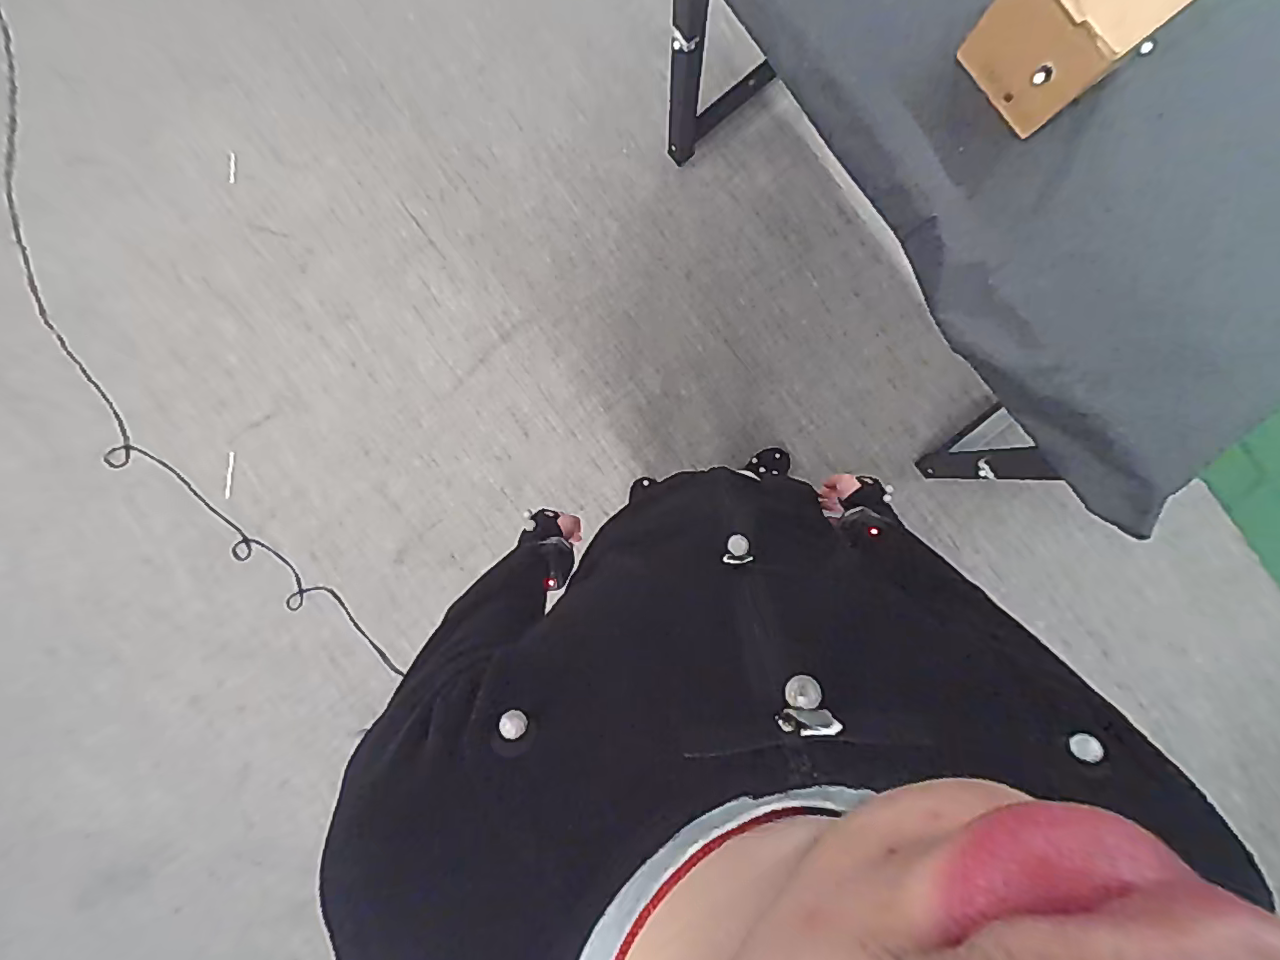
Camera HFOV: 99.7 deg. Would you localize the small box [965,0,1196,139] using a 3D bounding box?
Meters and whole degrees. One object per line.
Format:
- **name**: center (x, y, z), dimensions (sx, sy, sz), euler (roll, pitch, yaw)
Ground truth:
- **small box**: center (0.581, -0.614, 0.729), dimensions (0.179, 0.176, 0.168), euler (-38, 92, 1)
